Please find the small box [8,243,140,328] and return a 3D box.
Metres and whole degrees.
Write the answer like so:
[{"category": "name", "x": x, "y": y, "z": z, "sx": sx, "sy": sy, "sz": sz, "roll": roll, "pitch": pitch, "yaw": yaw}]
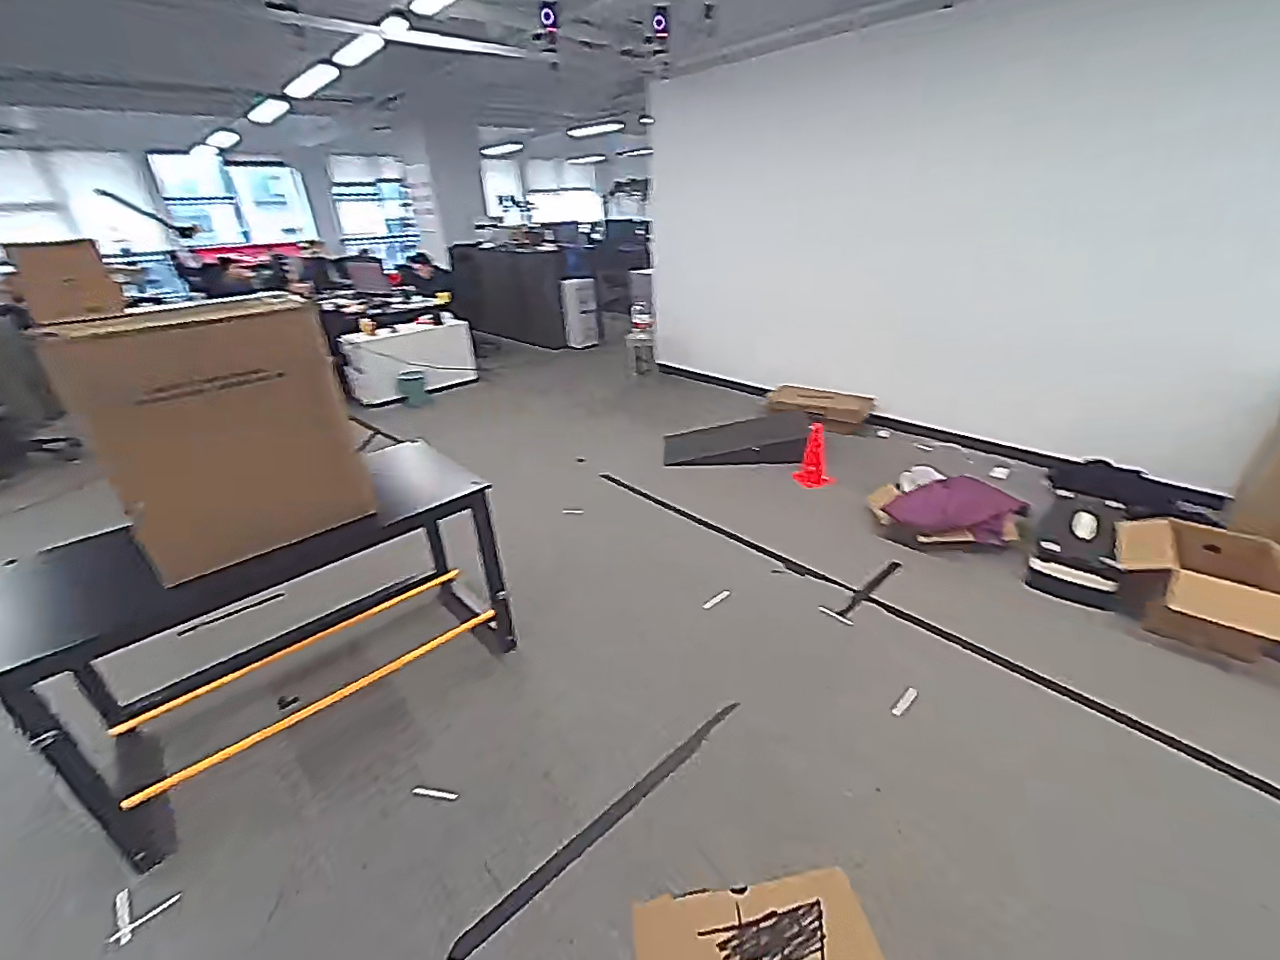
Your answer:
[{"category": "small box", "x": -1.315, "y": -0.456, "z": 1.264, "sx": 0.179, "sy": 0.176, "sz": 0.168, "roll": 20, "pitch": 34, "yaw": 40}]
